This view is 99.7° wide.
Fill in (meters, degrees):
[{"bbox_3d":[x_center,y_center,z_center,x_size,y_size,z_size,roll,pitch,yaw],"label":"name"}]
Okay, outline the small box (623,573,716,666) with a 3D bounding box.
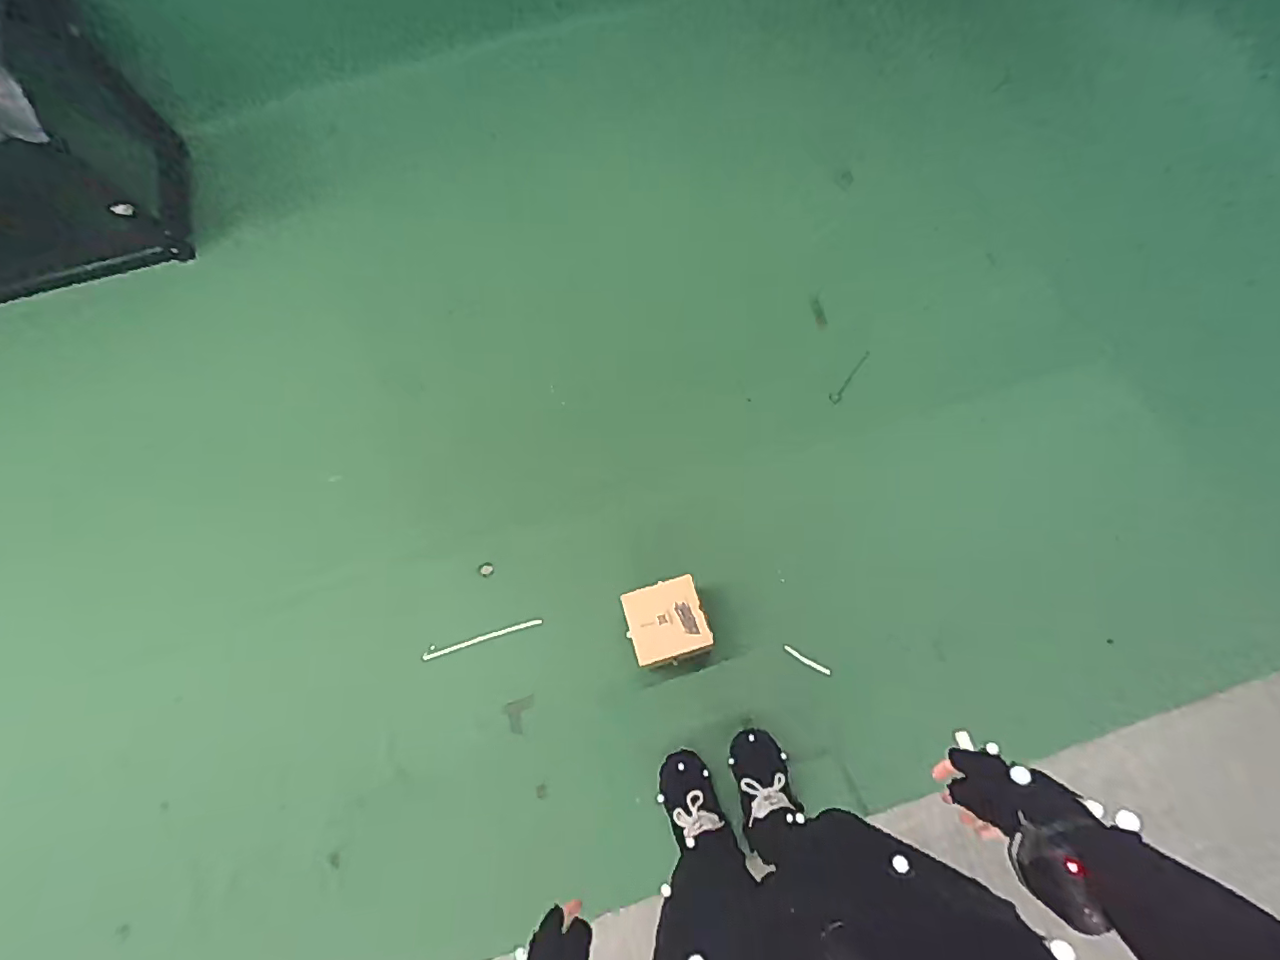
[{"bbox_3d":[0.070,0.337,1.290,0.179,0.176,0.168,-17,68,-1],"label":"small box"}]
